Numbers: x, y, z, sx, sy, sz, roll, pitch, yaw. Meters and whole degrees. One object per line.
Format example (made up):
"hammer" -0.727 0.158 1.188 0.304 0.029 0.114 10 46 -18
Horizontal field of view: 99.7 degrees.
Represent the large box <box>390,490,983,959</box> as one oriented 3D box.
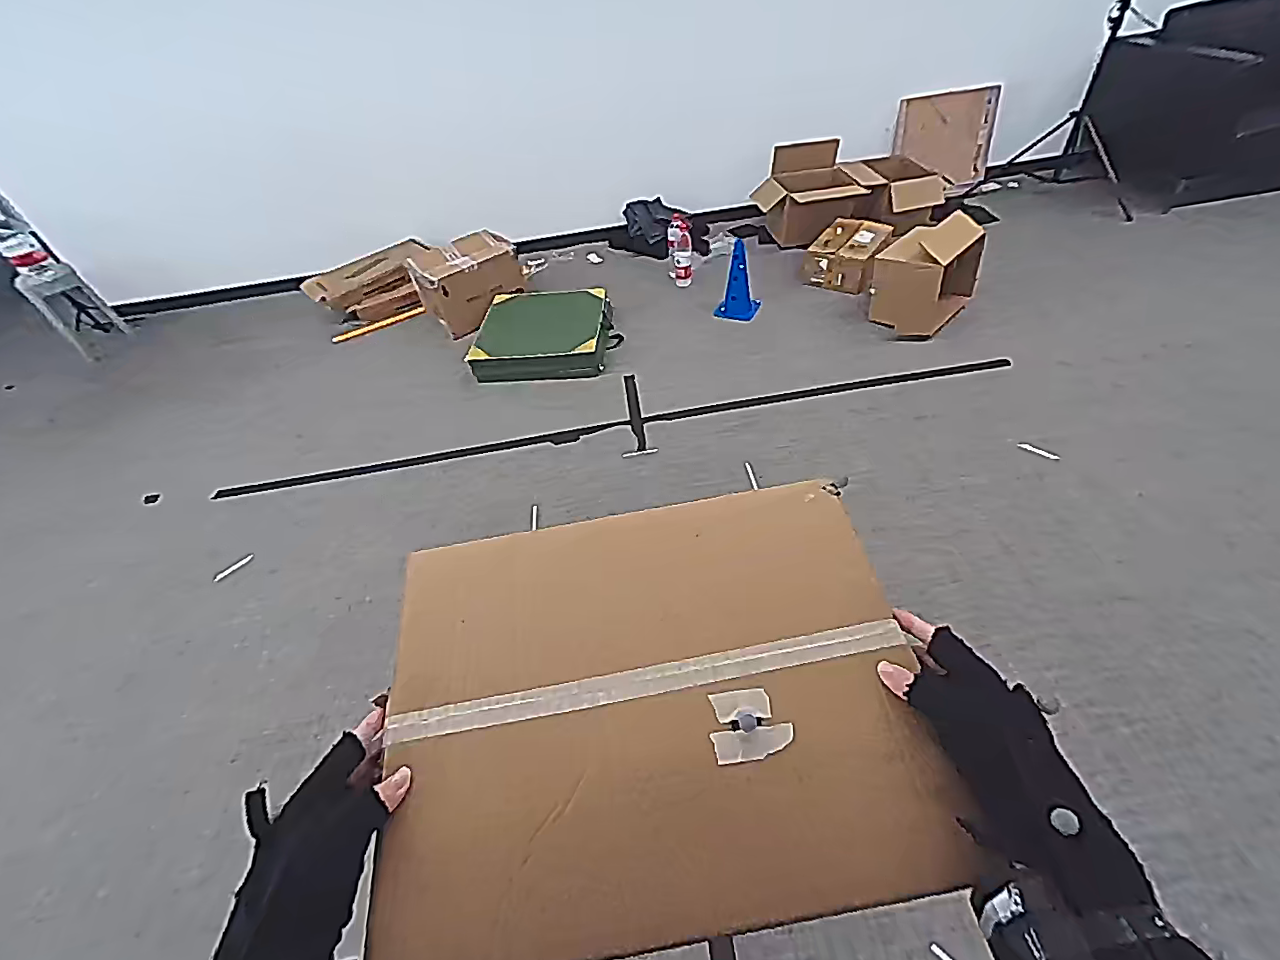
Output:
"large box" 0.022 0.253 0.556 0.408 0.320 0.320 -10 54 -1
